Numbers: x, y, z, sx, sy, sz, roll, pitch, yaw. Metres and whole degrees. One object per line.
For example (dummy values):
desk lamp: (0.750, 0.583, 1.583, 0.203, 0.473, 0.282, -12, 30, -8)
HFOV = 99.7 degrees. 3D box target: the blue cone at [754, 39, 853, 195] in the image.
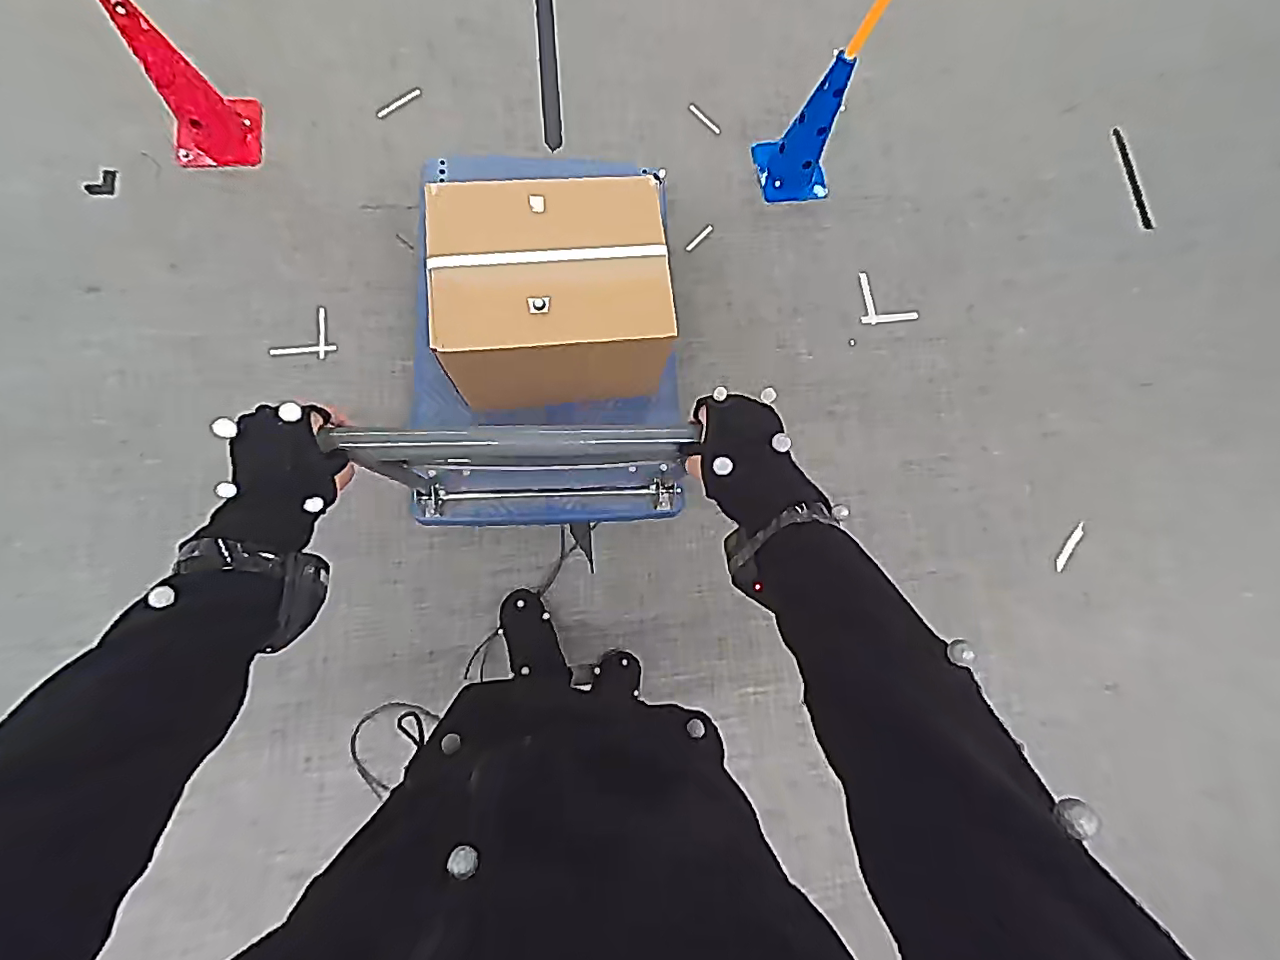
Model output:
blue cone: (0.457, -0.955, 1.424, 0.193, 0.380, 0.192, -9, 79, -9)
